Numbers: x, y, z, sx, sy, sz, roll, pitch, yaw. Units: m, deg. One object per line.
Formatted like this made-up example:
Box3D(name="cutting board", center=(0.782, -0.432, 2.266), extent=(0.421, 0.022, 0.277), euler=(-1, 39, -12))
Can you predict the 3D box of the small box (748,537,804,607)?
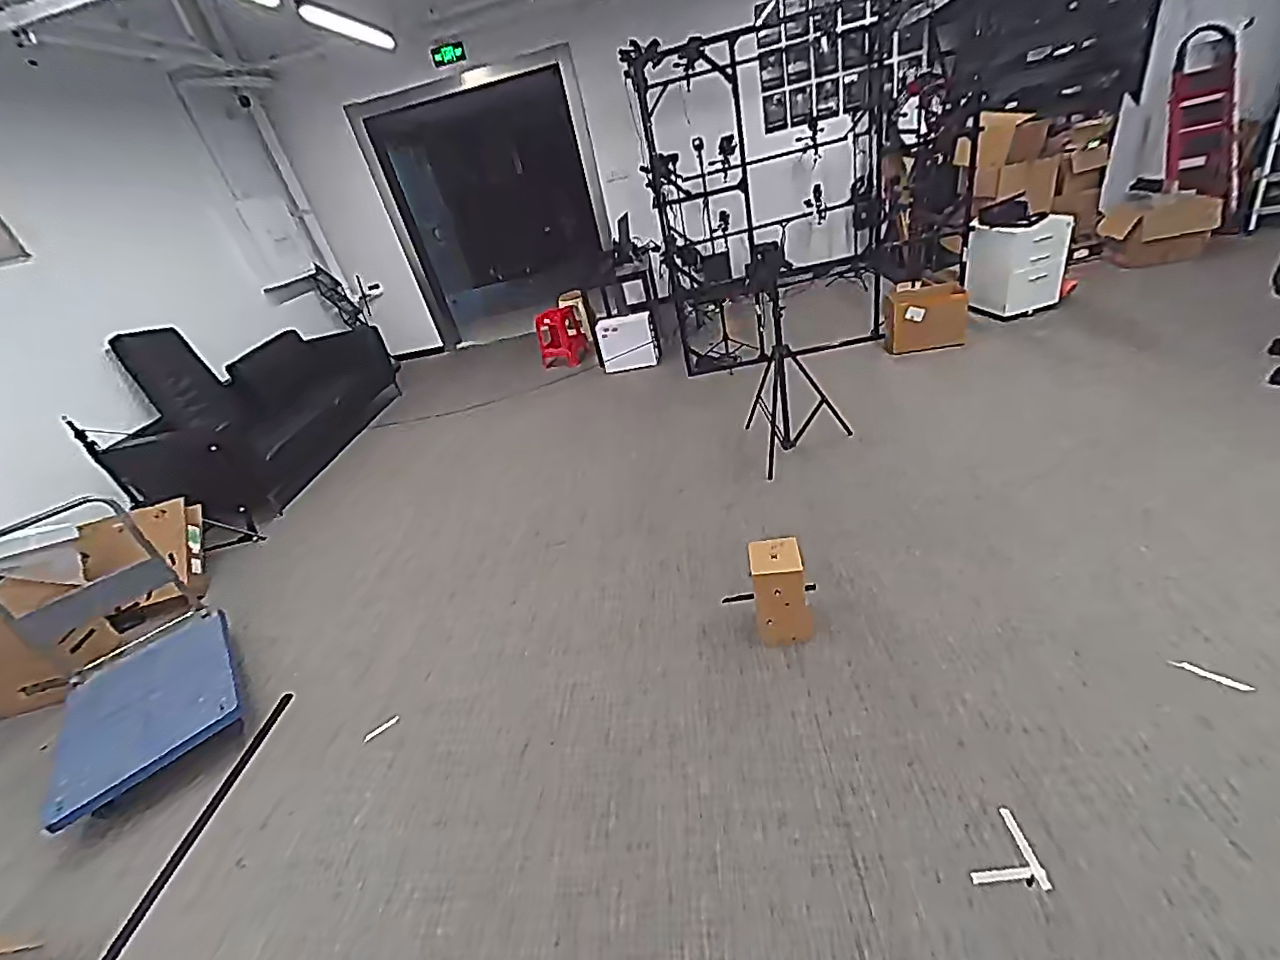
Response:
Box3D(name="small box", center=(0.466, 0.322, 1.855), extent=(0.168, 0.176, 0.179), euler=(-7, 30, 12))
